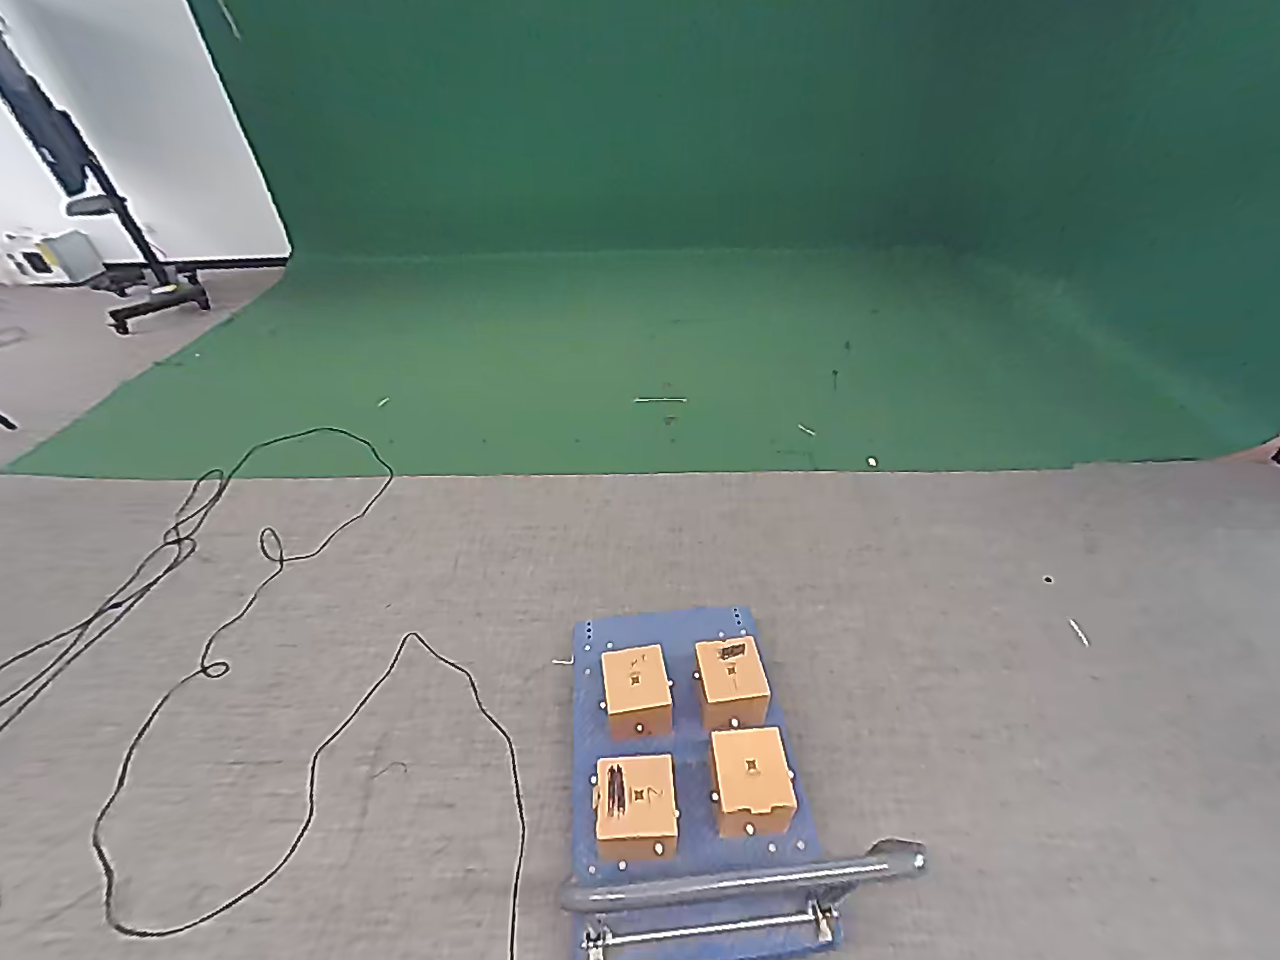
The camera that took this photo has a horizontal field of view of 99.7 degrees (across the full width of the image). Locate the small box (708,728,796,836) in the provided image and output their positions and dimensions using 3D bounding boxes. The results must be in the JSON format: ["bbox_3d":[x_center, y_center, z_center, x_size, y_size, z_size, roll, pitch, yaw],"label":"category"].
[{"bbox_3d":[0.258,0.720,1.291,0.168,0.176,0.179,-3,40,-1],"label":"small box"}]

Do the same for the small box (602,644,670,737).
[{"bbox_3d":[-0.011,0.575,1.464,0.168,0.176,0.179,-6,41,-6],"label":"small box"}]

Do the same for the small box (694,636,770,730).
[{"bbox_3d":[0.244,0.555,1.477,0.168,0.176,0.179,-6,42,-3],"label":"small box"}]
